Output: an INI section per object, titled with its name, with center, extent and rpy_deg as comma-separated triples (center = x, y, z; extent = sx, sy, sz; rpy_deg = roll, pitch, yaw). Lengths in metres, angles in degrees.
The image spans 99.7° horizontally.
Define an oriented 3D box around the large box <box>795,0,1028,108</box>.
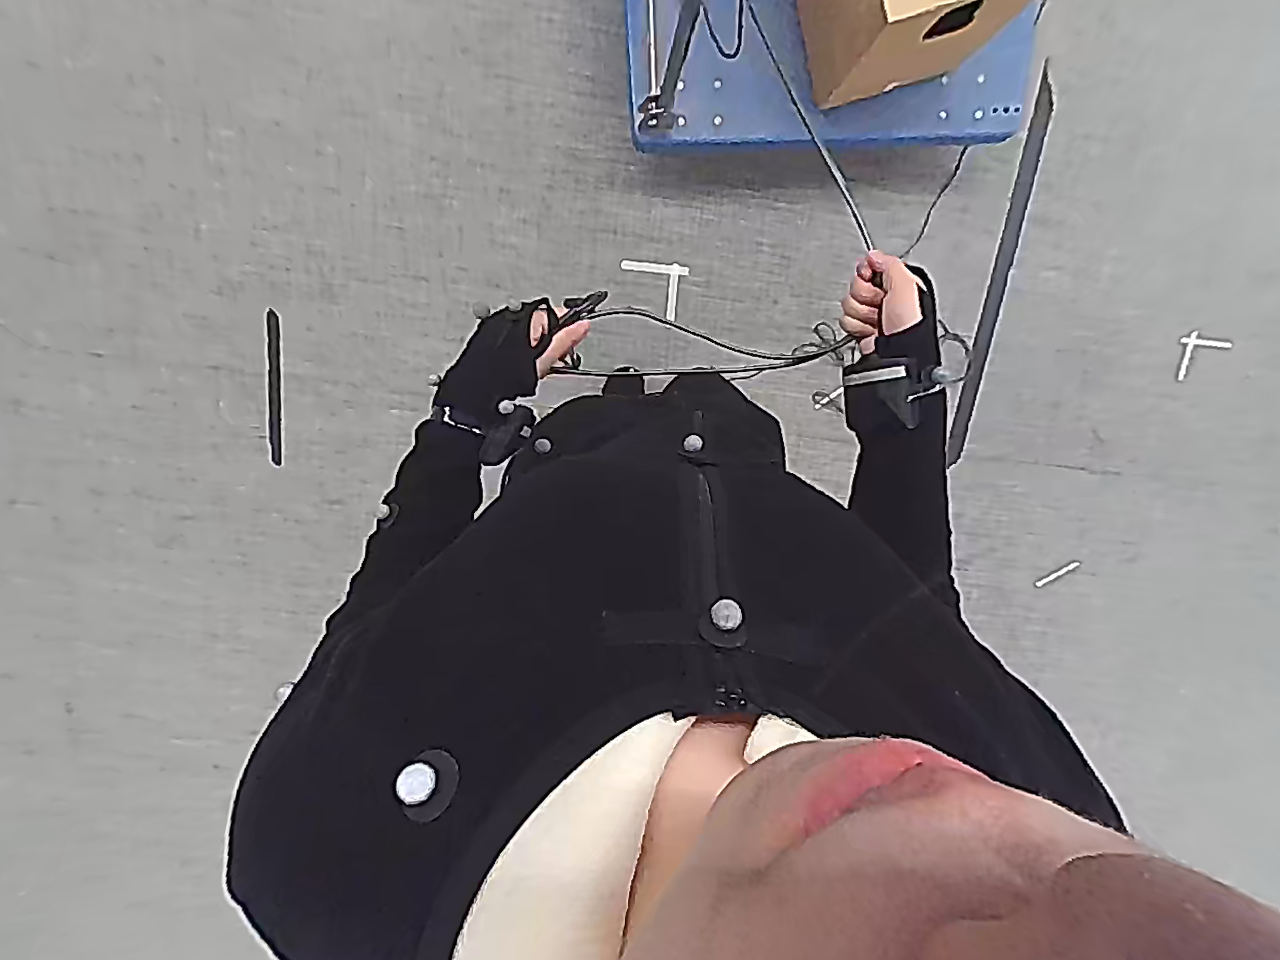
[large box]
center = 0.476, -0.996, 0.978
extent = 0.320, 0.320, 0.408
rpy_deg = -17, 103, 1
